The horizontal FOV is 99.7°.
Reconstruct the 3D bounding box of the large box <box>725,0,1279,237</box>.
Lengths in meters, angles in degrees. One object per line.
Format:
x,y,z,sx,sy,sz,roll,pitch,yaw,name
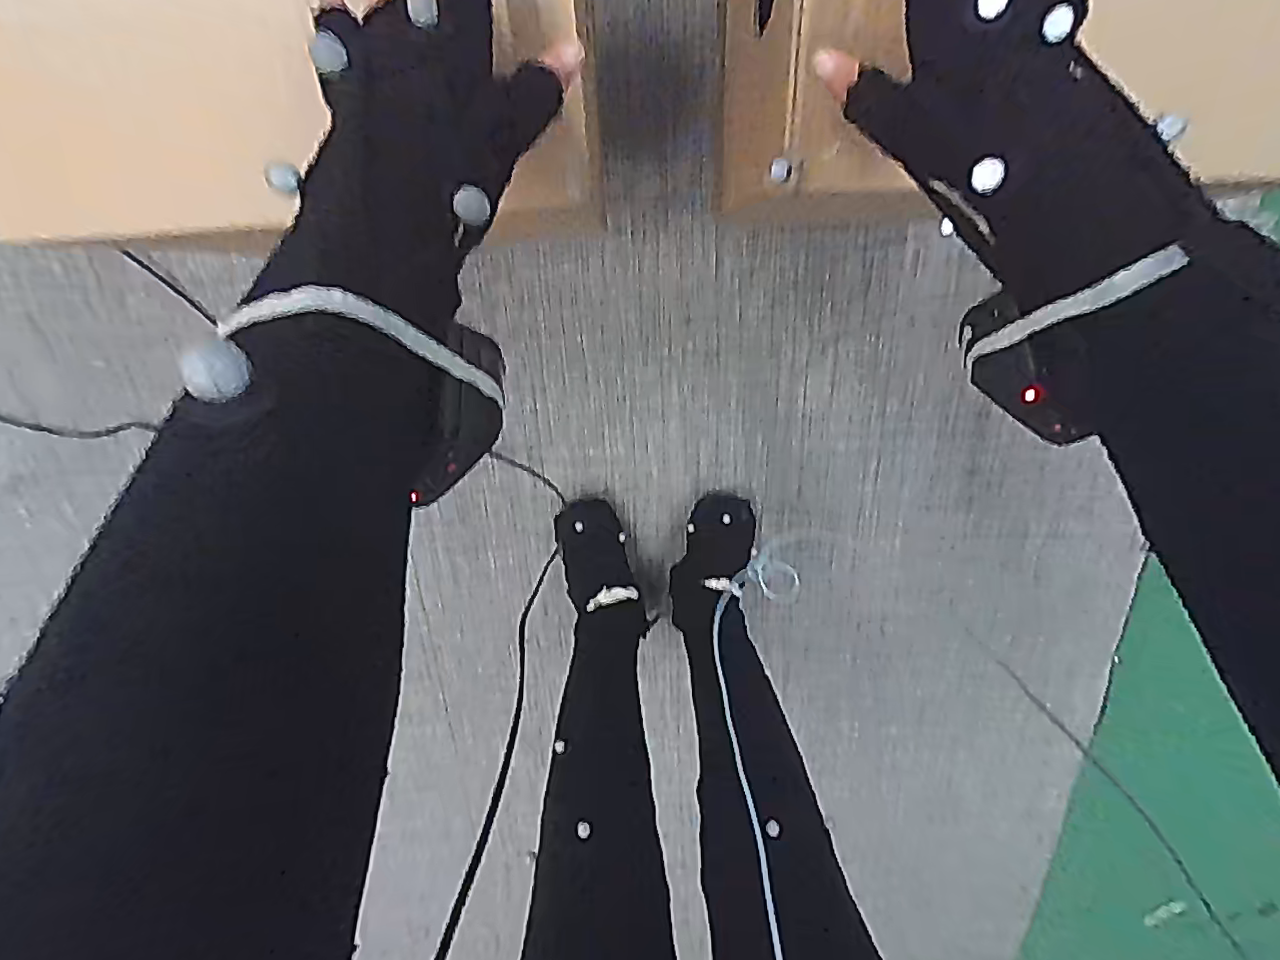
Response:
0.300,-0.388,0.467,0.408,0.320,0.320,-1,111,0,large box
